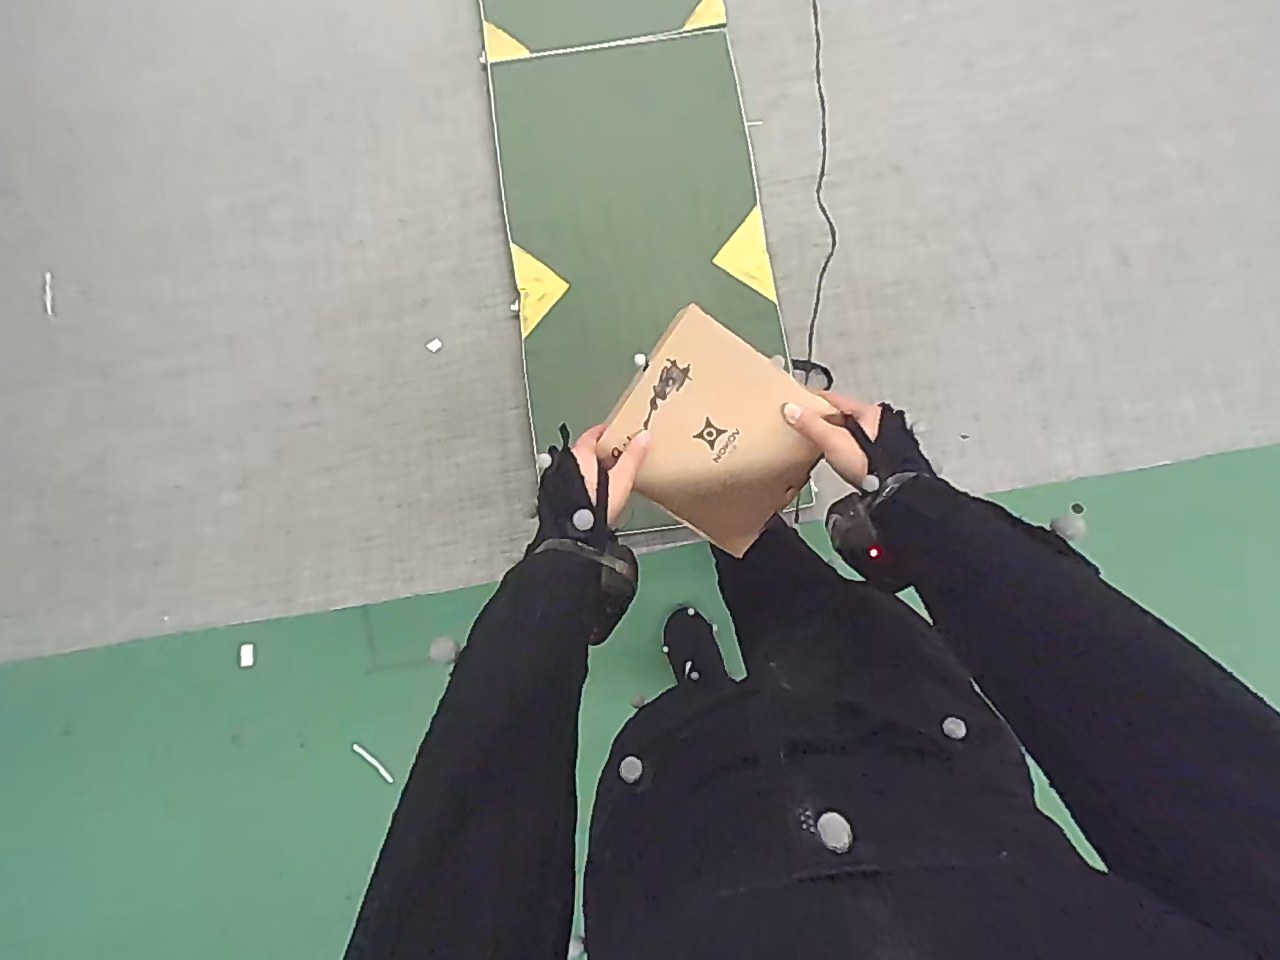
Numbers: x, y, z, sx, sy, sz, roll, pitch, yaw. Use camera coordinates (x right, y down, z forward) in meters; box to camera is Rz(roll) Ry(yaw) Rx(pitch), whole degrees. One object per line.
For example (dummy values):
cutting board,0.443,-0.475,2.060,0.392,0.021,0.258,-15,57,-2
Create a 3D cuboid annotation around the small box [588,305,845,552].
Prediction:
small box,0.069,-0.062,0.562,0.179,0.176,0.168,34,103,-8
